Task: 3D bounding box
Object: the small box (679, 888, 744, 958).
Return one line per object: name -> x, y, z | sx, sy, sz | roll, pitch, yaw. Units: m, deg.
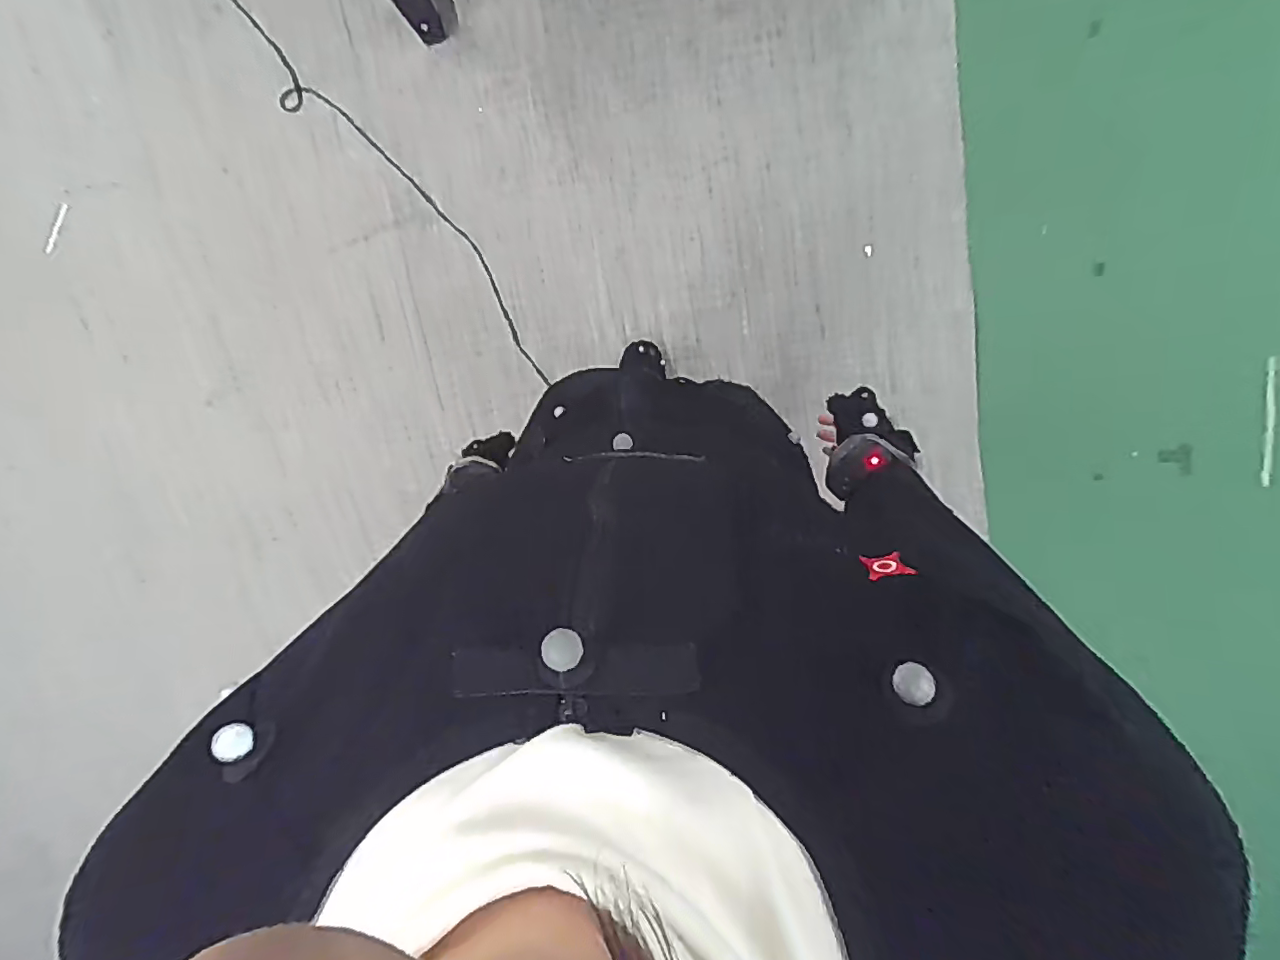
small box -> 0.213, 1.366, 1.615 | 0.179, 0.176, 0.168 | -10, 101, 4
